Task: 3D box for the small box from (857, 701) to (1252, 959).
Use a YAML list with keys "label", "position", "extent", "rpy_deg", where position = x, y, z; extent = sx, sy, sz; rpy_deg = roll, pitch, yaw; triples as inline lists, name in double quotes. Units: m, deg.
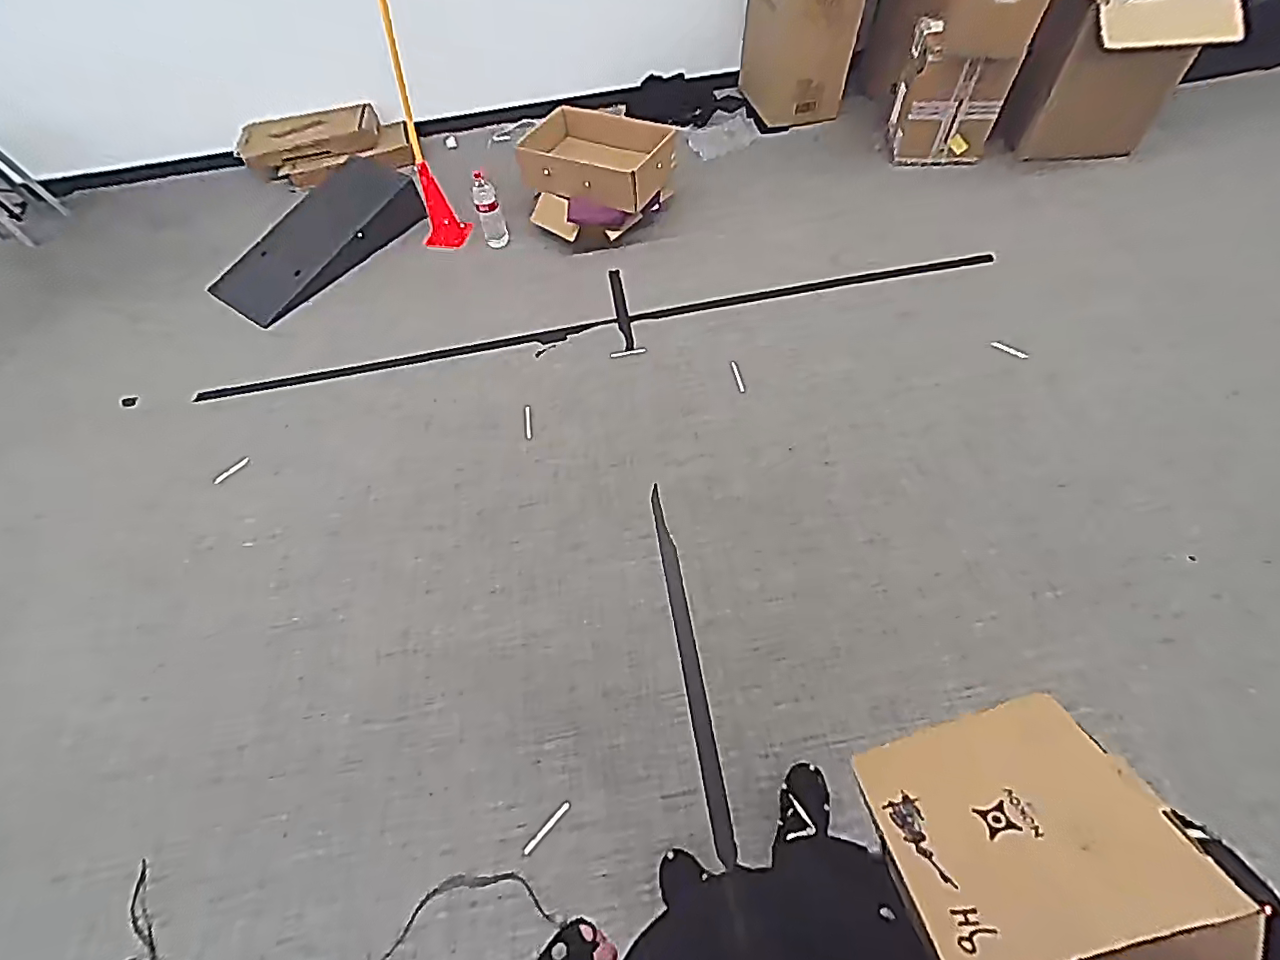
- label: "small box"
  position: [0.303, 0.317, 0.426]
  extent: [0.179, 0.176, 0.168]
  rpy_deg: [-22, 22, 7]
